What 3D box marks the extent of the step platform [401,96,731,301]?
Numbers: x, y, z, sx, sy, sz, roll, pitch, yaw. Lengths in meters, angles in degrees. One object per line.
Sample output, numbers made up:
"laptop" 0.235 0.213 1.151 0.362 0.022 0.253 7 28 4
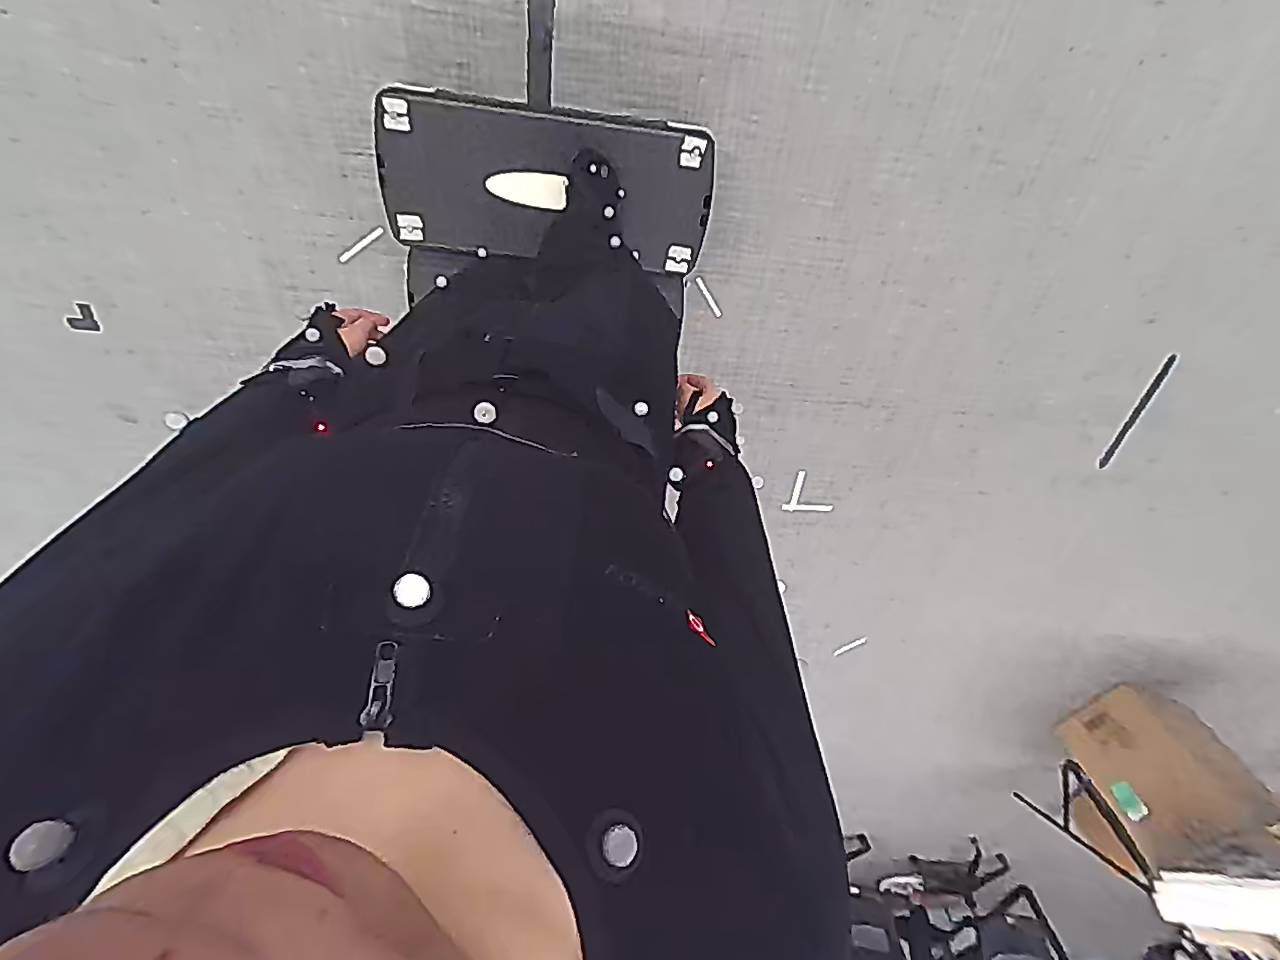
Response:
"step platform" -0.151 -0.600 1.183 0.684 0.204 0.286 7 122 -9
